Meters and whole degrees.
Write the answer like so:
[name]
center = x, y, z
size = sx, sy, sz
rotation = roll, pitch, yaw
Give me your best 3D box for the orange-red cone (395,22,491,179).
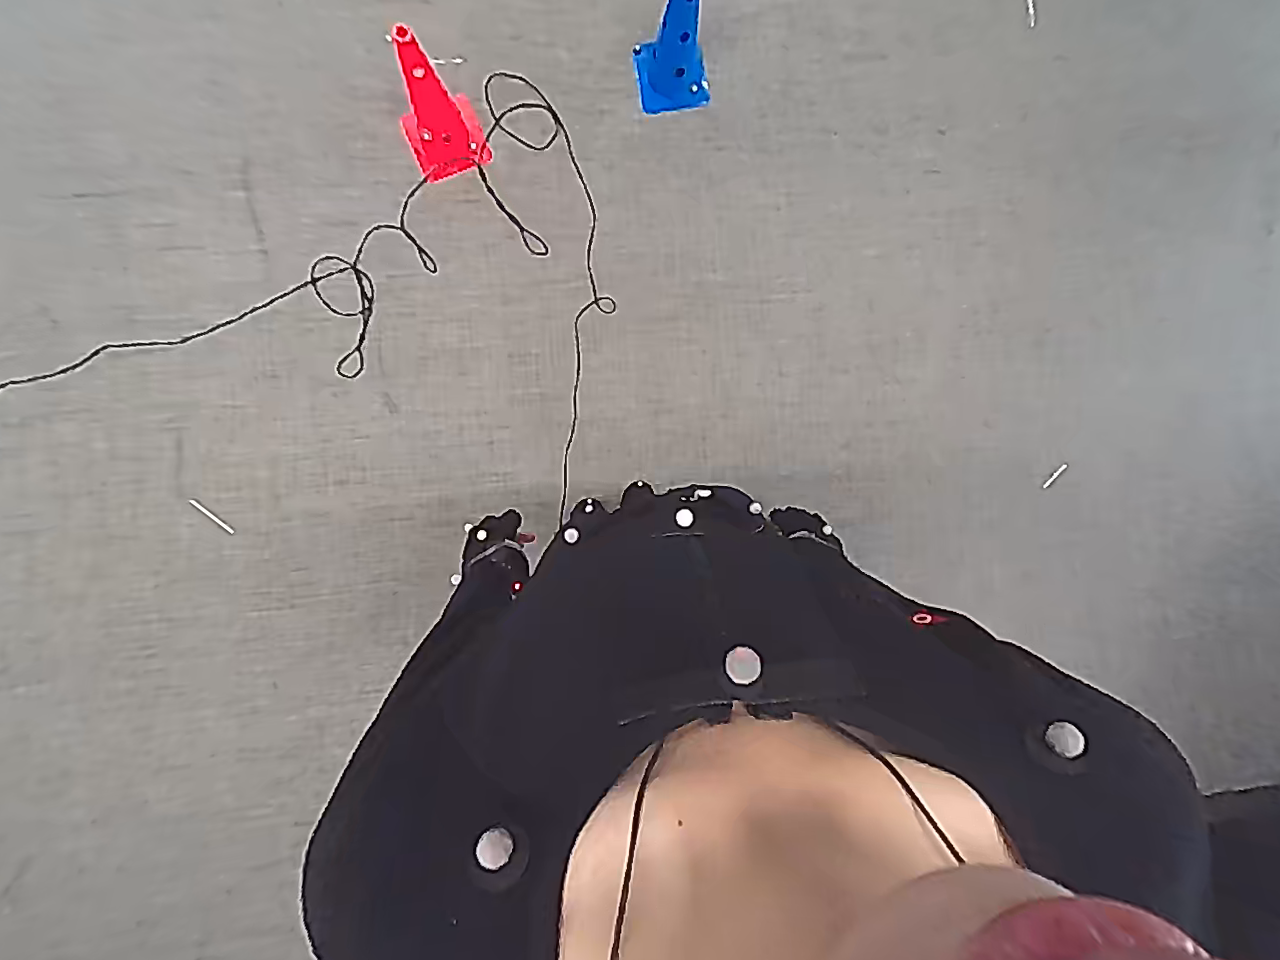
[orange-red cone]
center = -0.517, -0.948, 1.318
size = 0.198, 0.360, 0.199
rotation = -23, 89, -5
